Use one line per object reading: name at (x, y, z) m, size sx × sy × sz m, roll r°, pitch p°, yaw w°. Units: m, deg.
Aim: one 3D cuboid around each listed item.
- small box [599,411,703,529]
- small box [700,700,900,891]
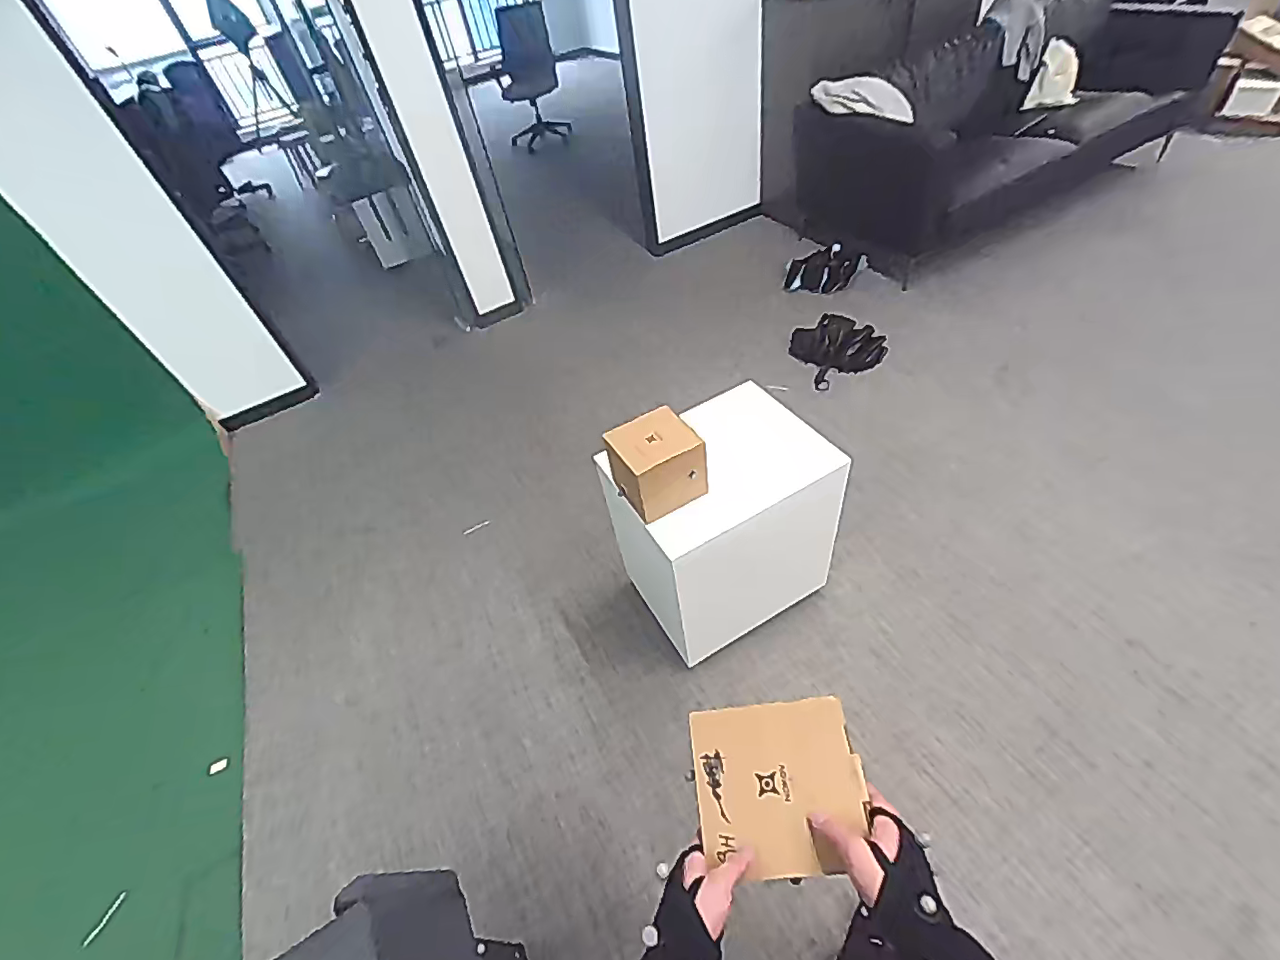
small box at (0.028, -0.022, 1.234) m, size 0.179 × 0.176 × 0.168 m, roll -27°, pitch 47°, yaw -17°
small box at (0.172, 0.364, 0.630) m, size 0.179 × 0.176 × 0.168 m, roll -10°, pitch 56°, yaw 7°
